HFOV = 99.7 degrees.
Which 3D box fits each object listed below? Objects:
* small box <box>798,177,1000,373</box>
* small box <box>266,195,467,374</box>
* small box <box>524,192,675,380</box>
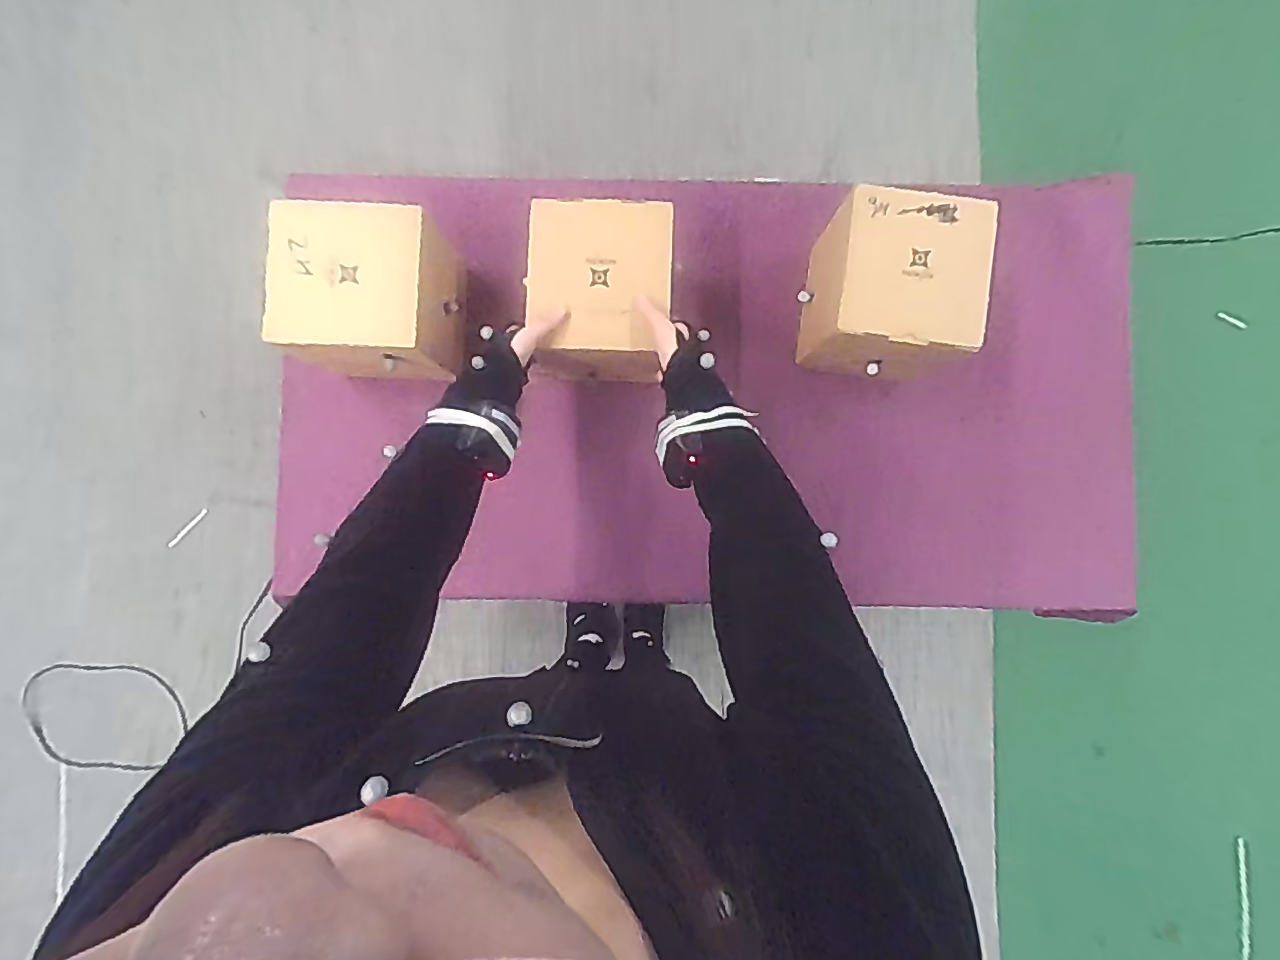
[{"bbox_3d":[0.311,-0.243,0.687,0.168,0.176,0.179,9,89,0],"label":"small box"},{"bbox_3d":[-0.333,-0.237,0.693,0.179,0.176,0.168,3,88,1],"label":"small box"},{"bbox_3d":[-0.045,-0.236,0.693,0.168,0.176,0.179,3,88,1],"label":"small box"}]
